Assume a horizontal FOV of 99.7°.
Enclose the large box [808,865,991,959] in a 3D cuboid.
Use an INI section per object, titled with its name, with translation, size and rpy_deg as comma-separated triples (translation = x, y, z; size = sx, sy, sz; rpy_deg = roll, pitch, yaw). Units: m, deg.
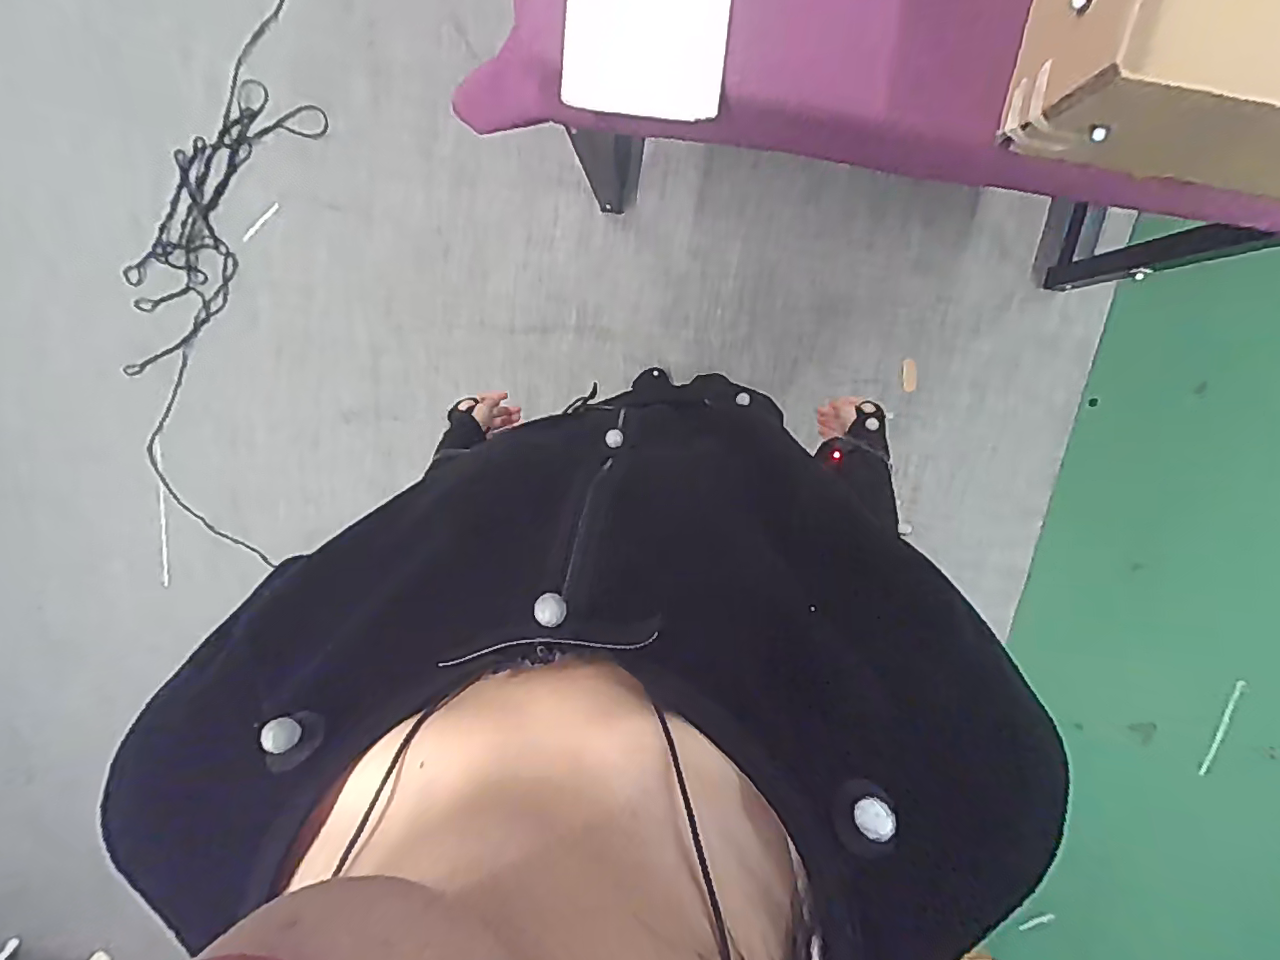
[large box]
translation = 0.738, 1.392, 1.577
size = 0.408, 0.320, 0.320
rpy_deg = -5, 101, 3
